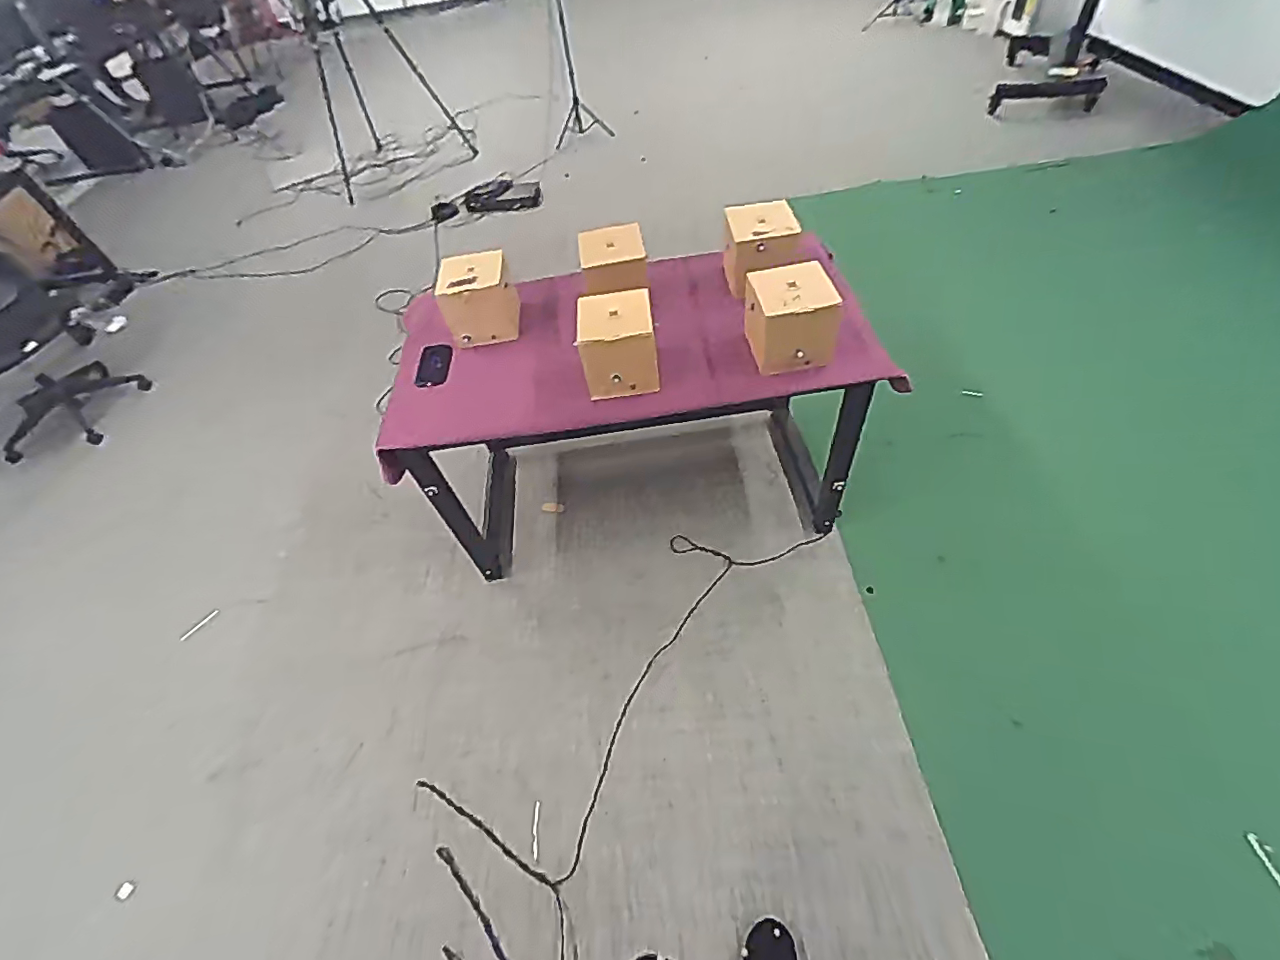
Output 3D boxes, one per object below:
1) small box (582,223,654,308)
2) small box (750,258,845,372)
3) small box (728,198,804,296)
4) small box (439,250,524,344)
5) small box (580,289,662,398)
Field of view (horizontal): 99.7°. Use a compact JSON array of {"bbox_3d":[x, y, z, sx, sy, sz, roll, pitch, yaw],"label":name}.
[{"bbox_3d":[-0.059,-0.558,1.454,0.168,0.176,0.179,-9,53,3],"label":"small box"},{"bbox_3d":[0.350,-0.375,1.241,0.168,0.176,0.179,-10,52,3],"label":"small box"},{"bbox_3d":[0.326,-0.616,1.434,0.168,0.176,0.179,-8,52,4],"label":"small box"},{"bbox_3d":[-0.416,-0.483,1.450,0.168,0.176,0.179,-9,51,2],"label":"small box"},{"bbox_3d":[-0.042,-0.317,1.264,0.168,0.176,0.179,-7,51,3],"label":"small box"}]
